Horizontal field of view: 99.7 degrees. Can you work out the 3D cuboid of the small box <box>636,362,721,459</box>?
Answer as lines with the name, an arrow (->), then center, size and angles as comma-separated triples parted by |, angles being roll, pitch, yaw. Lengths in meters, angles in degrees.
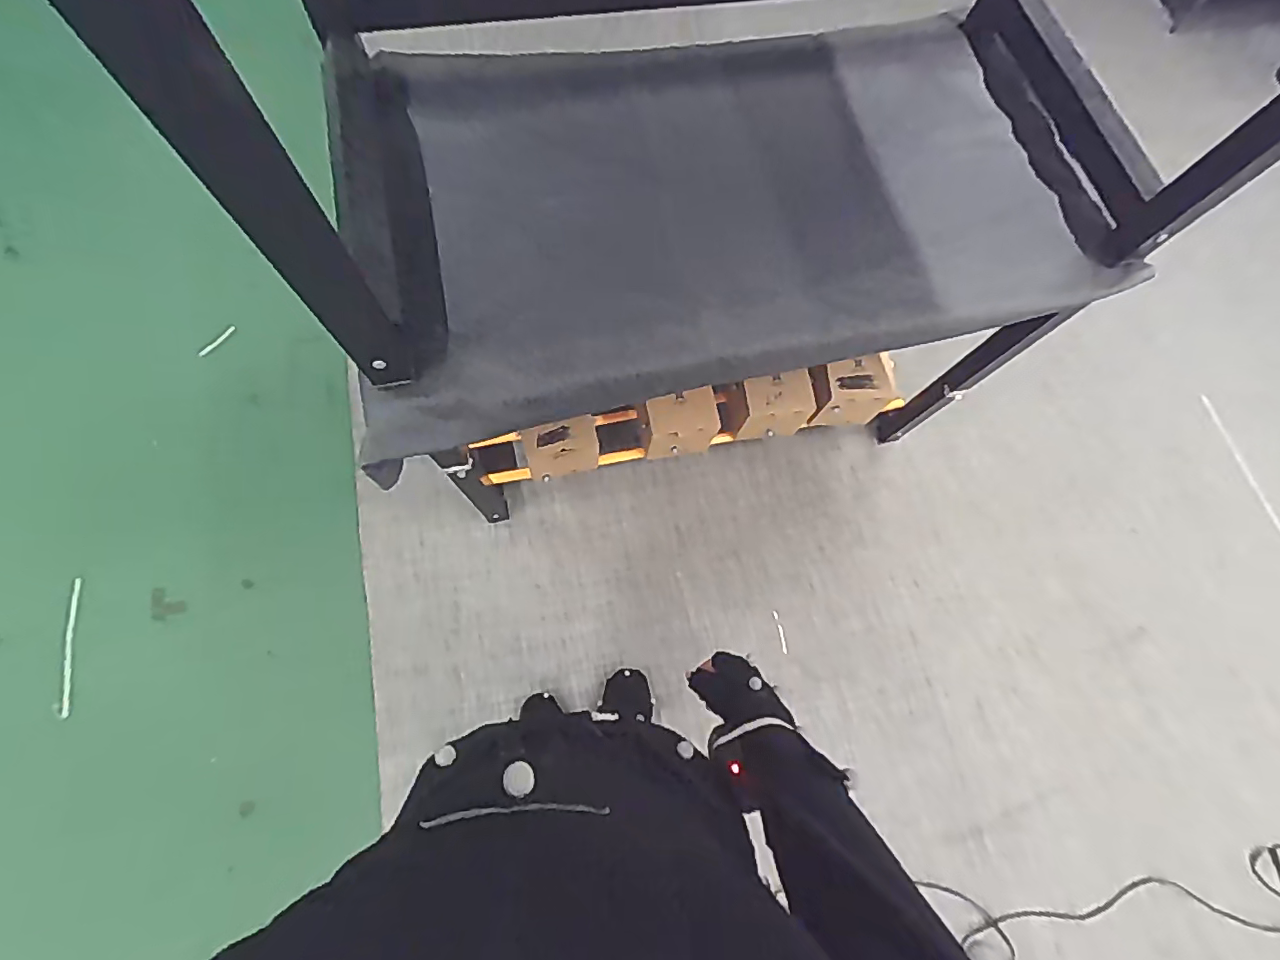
small box -> 0.088, -0.169, 1.340 | 0.168, 0.176, 0.179 | -9, 75, -7
